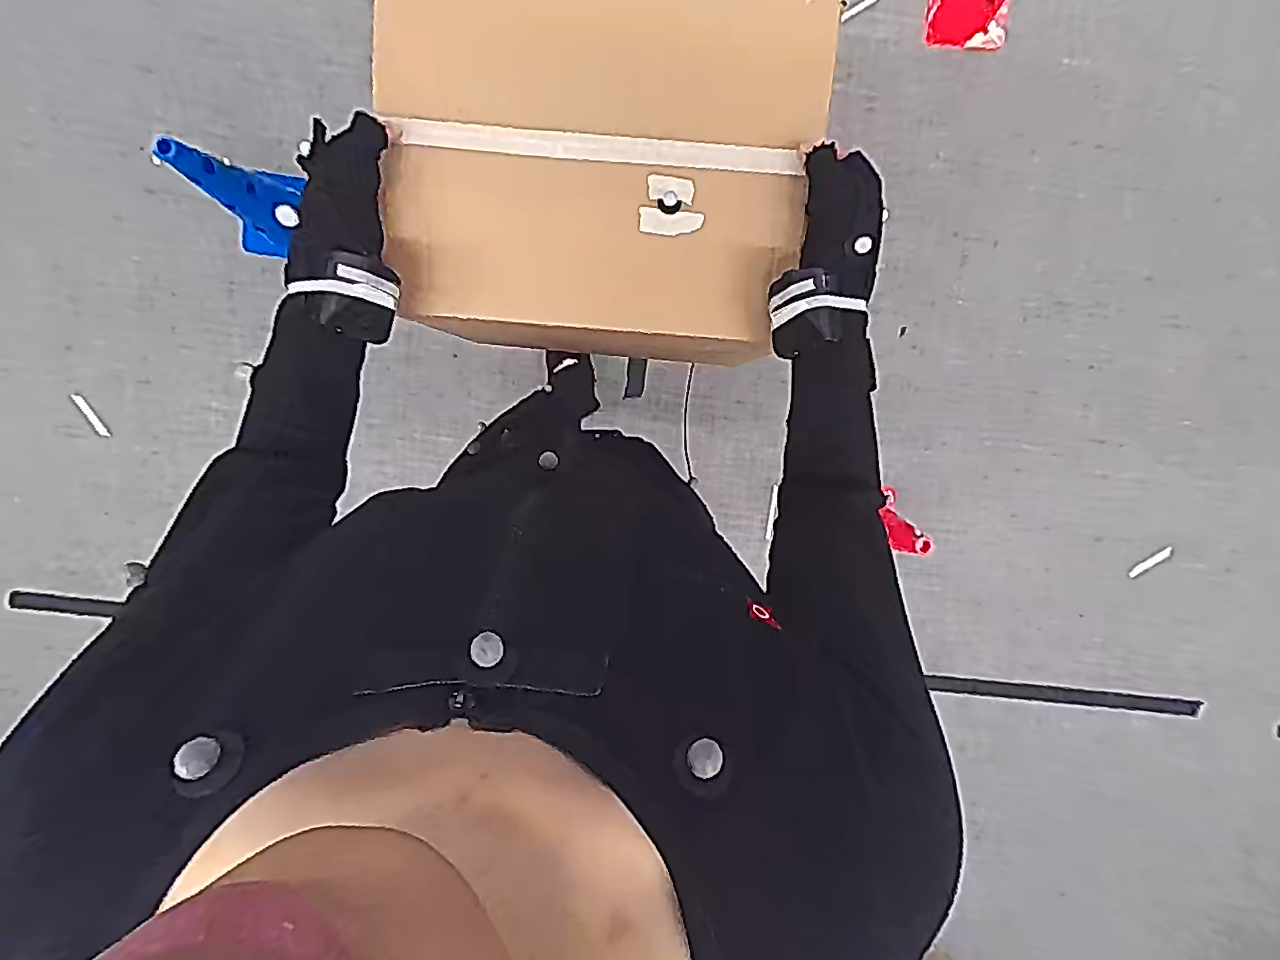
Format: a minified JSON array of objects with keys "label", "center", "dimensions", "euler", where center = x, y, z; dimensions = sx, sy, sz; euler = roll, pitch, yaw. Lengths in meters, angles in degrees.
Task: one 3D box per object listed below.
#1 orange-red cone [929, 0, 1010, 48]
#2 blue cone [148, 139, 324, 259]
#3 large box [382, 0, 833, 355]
[{"label":"orange-red cone","center":[0.817,-1.157,1.153],"dimensions":[0.198,0.360,0.199],"euler":[4,95,-2]},{"label":"blue cone","center":[-0.897,-0.643,1.199],"dimensions":[0.192,0.380,0.193],"euler":[10,96,-1]},{"label":"large box","center":[-0.039,-0.329,0.640],"dimensions":[0.408,0.320,0.320],"euler":[4,99,-1]}]
